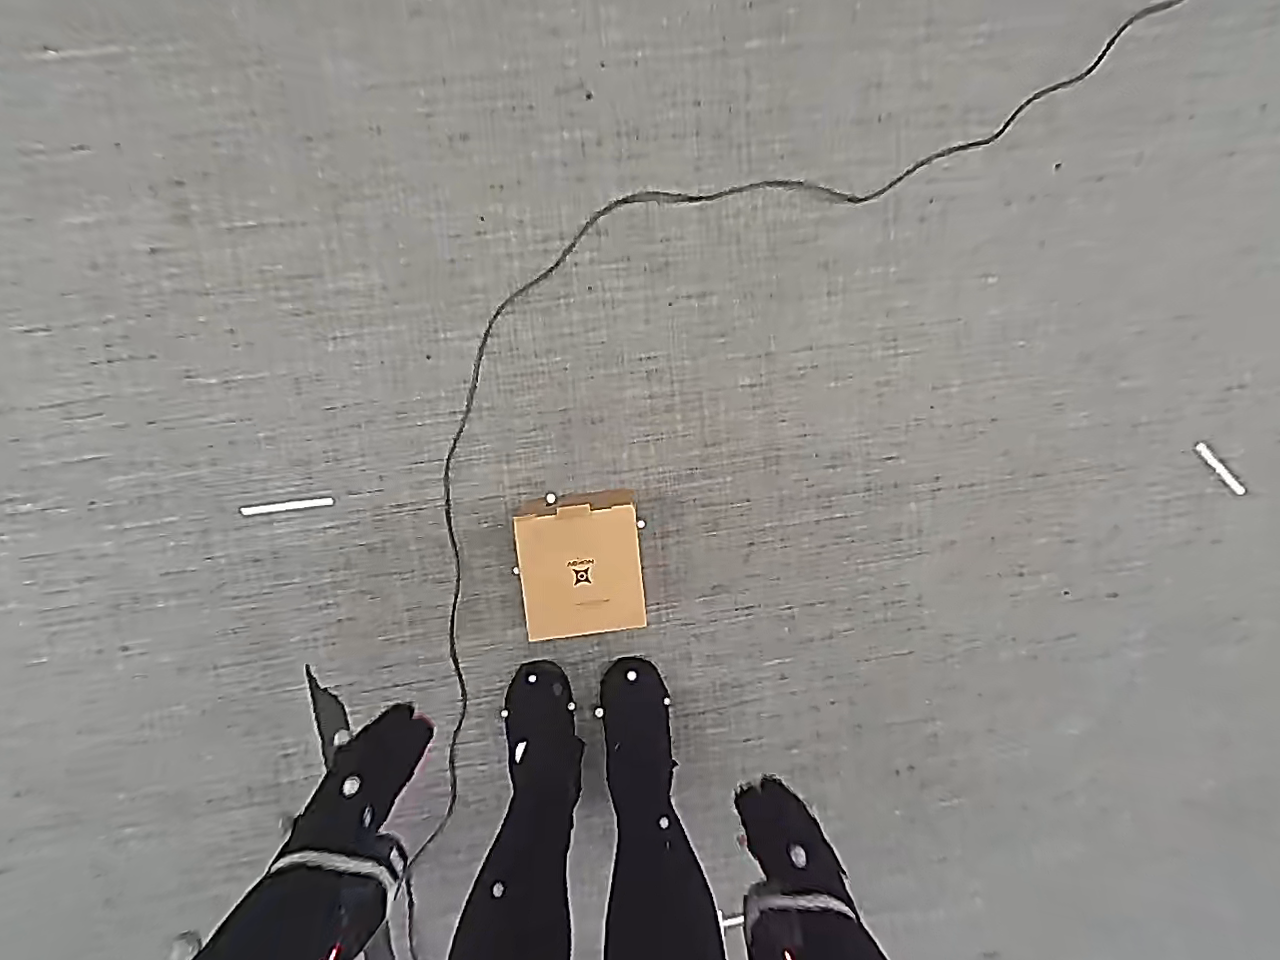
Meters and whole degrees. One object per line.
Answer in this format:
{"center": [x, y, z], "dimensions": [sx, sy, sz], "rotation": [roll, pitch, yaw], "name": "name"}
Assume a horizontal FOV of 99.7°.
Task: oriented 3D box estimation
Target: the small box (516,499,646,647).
{"center": [-0.085, 0.126, 0.808], "dimensions": [0.168, 0.176, 0.179], "rotation": [-6, 97, -4], "name": "small box"}
